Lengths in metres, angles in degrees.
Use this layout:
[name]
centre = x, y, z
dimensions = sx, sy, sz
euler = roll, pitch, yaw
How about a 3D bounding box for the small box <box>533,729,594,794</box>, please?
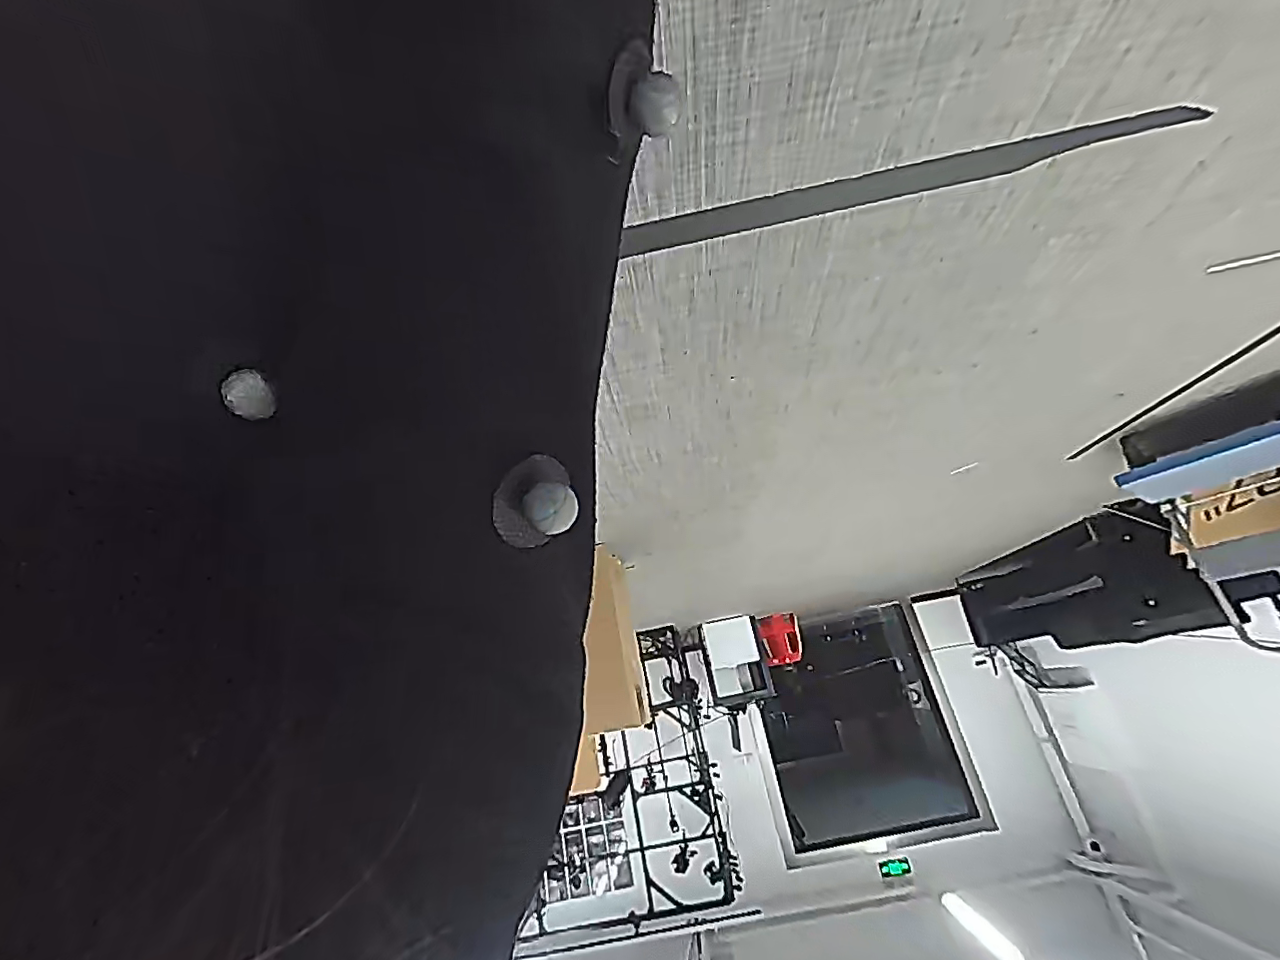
[small box]
centre = -0.266, 0.967, 1.871
dimensions = 0.179, 0.176, 0.168
euler = -12, 158, -1
